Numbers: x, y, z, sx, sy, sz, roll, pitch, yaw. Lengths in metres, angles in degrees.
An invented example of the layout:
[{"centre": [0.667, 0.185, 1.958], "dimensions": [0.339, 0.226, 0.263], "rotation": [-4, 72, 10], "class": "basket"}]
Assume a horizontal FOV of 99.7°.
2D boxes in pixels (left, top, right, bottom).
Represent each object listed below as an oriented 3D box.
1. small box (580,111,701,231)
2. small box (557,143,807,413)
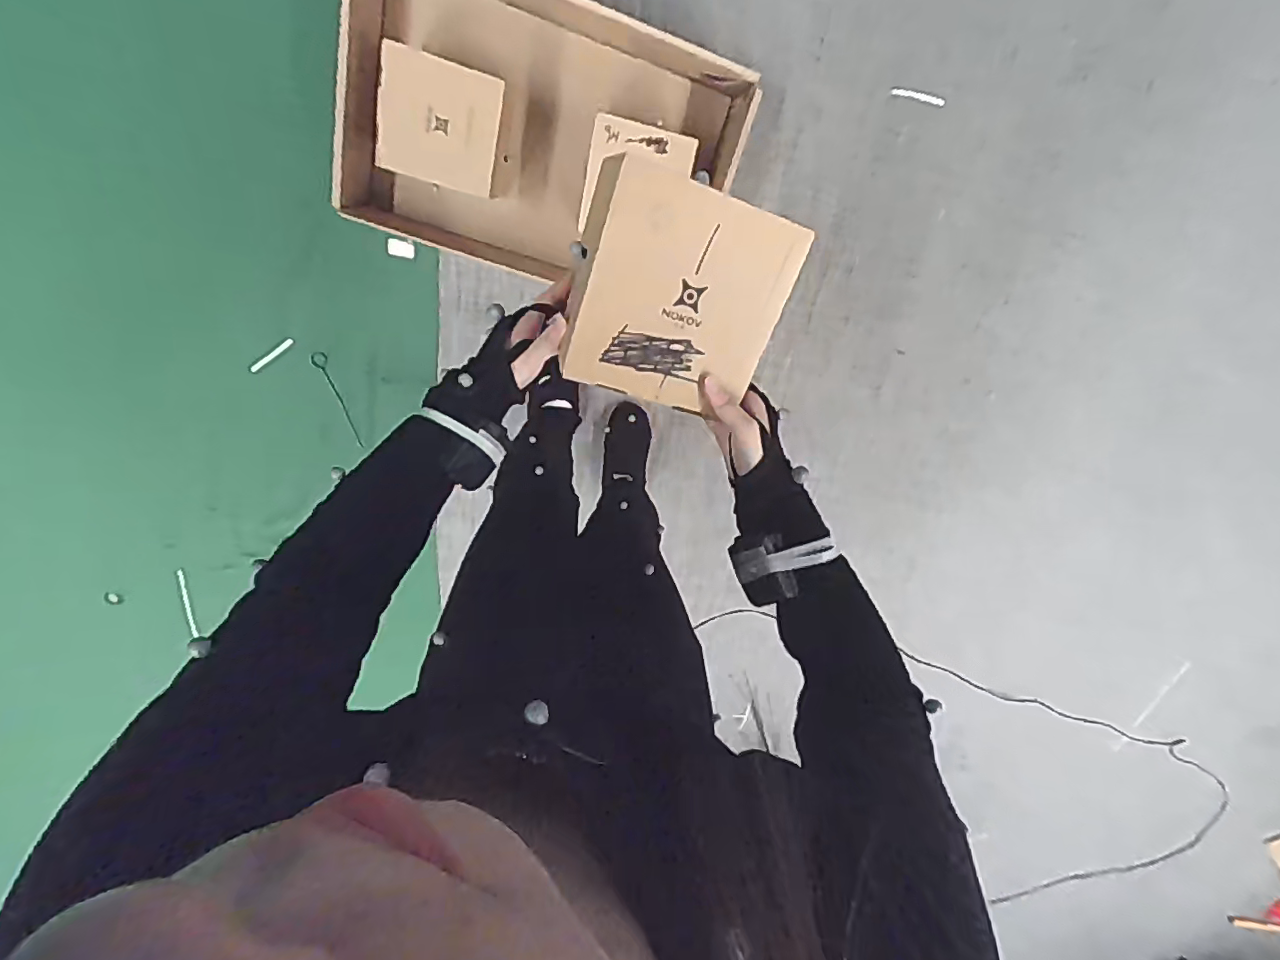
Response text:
[{"centre": [-0.005, -0.511, 0.938], "dimensions": [0.168, 0.176, 0.179], "rotation": [10, 118, -10], "class": "small box"}, {"centre": [0.023, -0.191, 0.519], "dimensions": [0.168, 0.176, 0.179], "rotation": [14, 115, -16], "class": "small box"}]
